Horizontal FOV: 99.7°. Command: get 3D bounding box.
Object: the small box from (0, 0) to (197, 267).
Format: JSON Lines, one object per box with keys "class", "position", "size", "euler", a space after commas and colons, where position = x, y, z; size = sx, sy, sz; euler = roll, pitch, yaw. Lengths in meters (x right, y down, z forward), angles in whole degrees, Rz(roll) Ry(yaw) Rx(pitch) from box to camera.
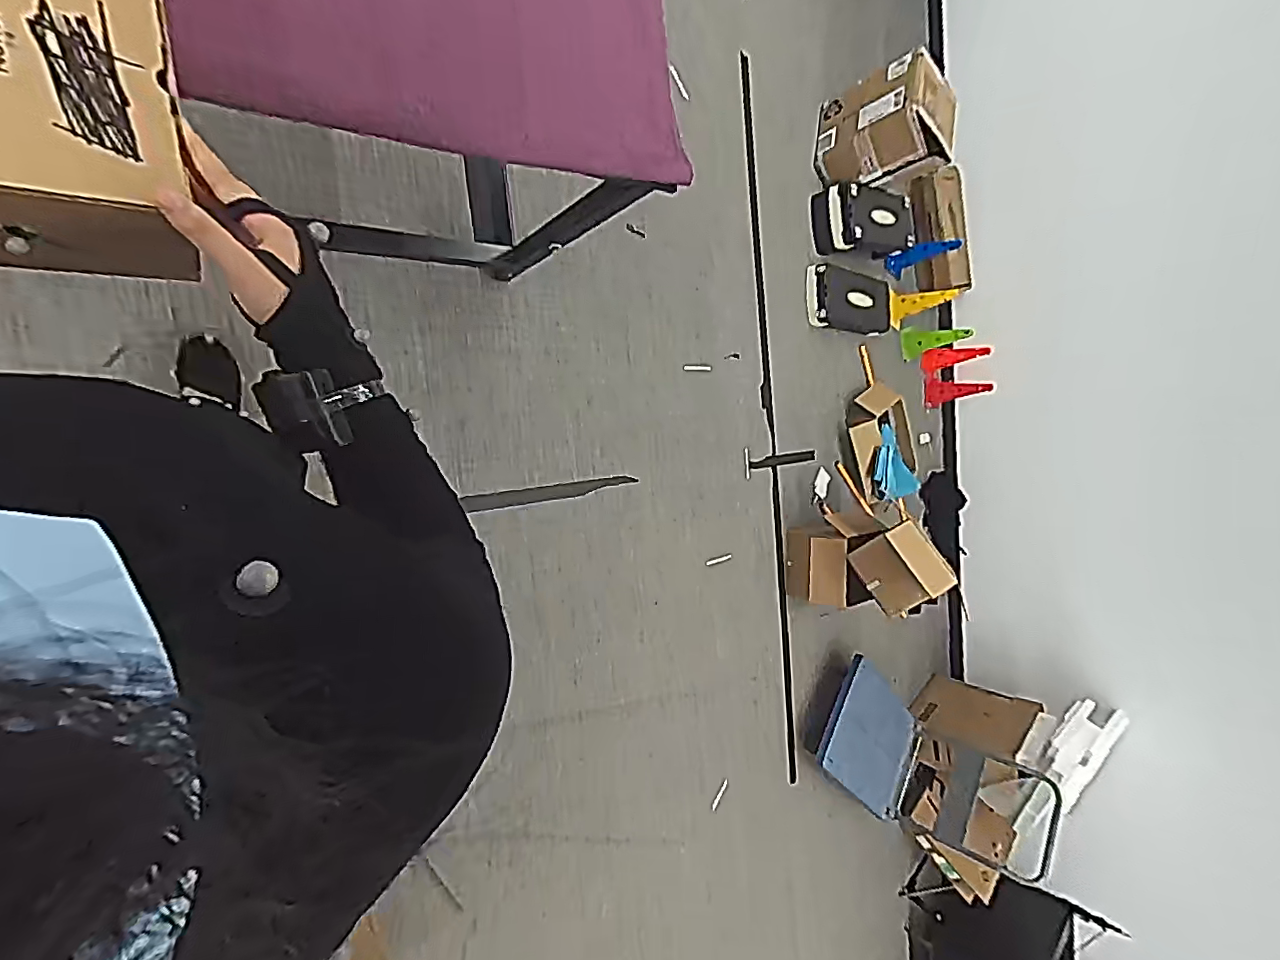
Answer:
{"class": "small box", "position": [-0.419, -0.255, 0.364], "size": [0.179, 0.176, 0.168], "euler": [-8, 96, -36]}
